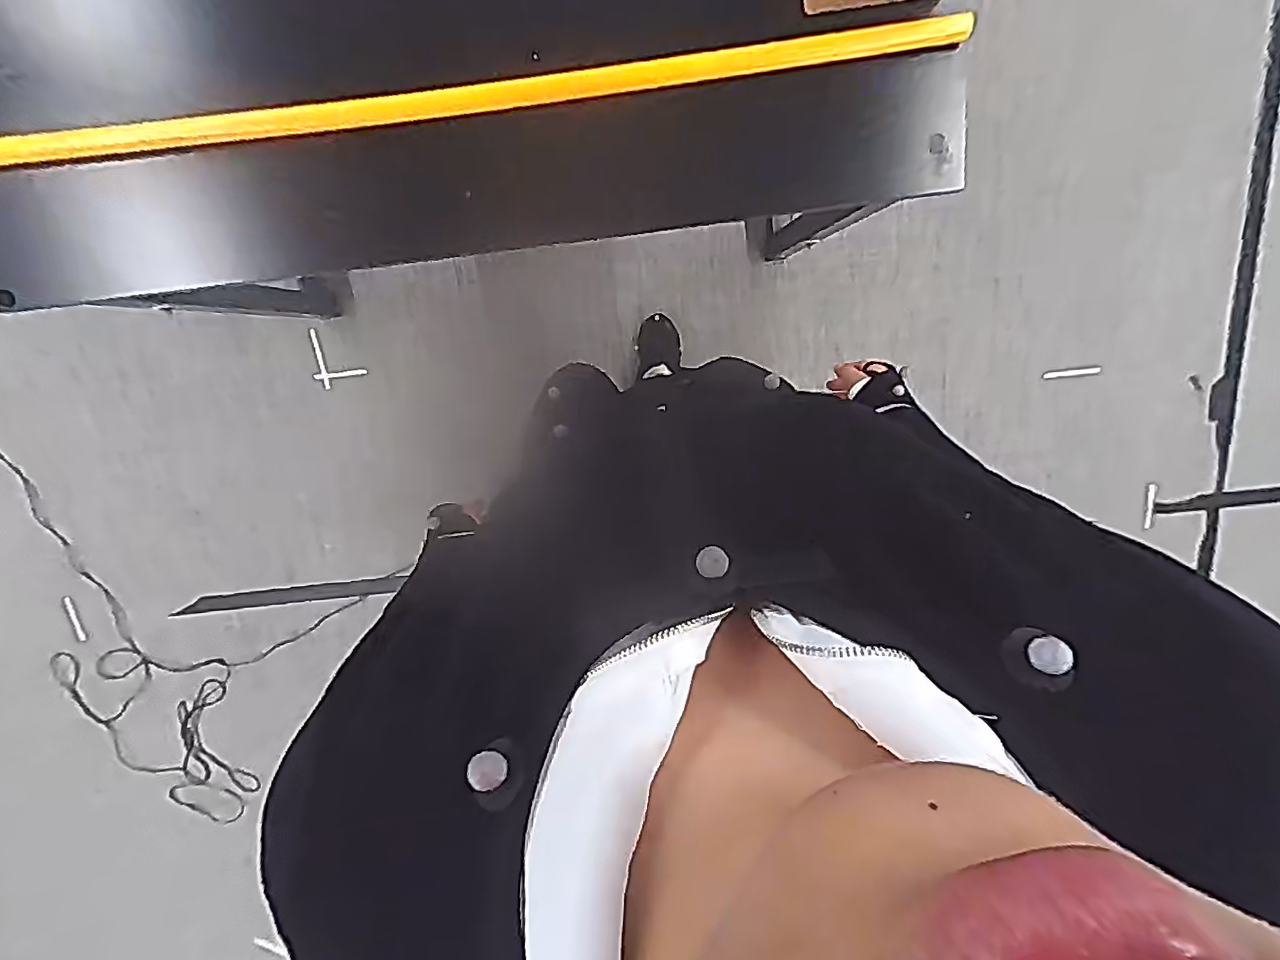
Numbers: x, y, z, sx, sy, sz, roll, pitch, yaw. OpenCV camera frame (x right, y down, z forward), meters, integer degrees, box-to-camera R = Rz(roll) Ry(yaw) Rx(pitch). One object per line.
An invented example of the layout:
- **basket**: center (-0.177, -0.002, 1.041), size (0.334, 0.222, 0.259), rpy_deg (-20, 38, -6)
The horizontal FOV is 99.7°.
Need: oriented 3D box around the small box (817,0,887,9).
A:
- **small box**: center (0.263, -0.611, 0.520), size (0.168, 0.176, 0.179), rpy_deg (-7, 105, 1)
